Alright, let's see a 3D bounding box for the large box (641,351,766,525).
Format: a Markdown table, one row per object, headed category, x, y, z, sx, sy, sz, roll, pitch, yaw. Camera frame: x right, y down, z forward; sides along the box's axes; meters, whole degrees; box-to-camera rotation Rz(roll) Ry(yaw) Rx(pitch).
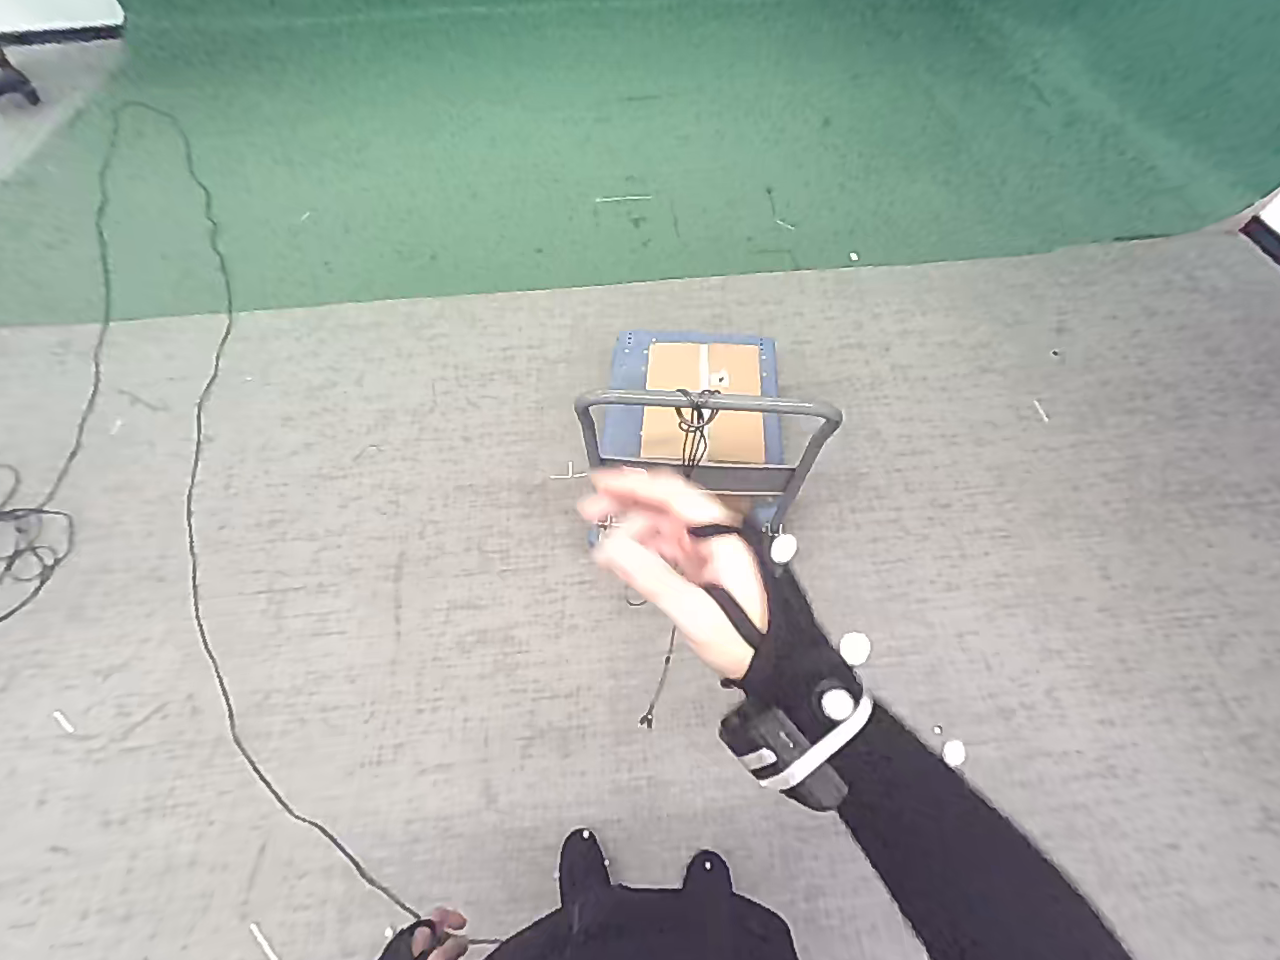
| category | x | y | z | sx | sy | sz | roll | pitch | yaw |
| --- | --- | --- | --- | --- | --- | --- | --- | --- | --- |
| large box | 0.173 | -0.114 | 1.561 | 0.320 | 0.320 | 0.408 | 3 | 58 | 3 |
